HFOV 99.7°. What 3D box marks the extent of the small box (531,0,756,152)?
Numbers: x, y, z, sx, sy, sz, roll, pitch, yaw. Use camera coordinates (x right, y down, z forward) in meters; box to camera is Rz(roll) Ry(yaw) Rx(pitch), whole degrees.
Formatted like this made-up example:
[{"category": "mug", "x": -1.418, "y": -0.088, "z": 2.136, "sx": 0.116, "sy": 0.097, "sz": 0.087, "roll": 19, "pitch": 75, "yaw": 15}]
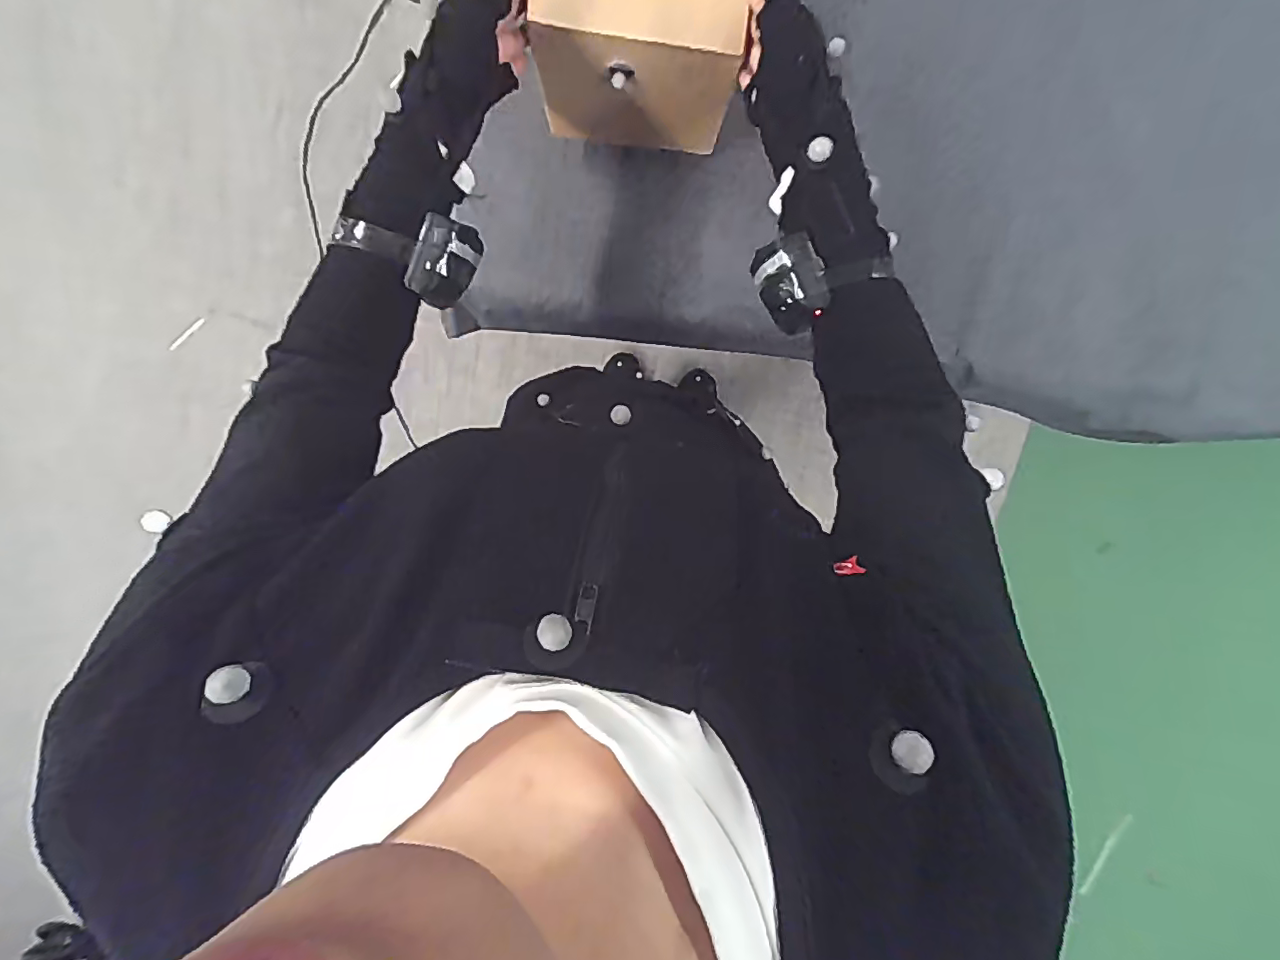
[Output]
[{"category": "small box", "x": 0.008, "y": -0.432, "z": 0.496, "sx": 0.179, "sy": 0.176, "sz": 0.168, "roll": 6, "pitch": 96, "yaw": -3}]
